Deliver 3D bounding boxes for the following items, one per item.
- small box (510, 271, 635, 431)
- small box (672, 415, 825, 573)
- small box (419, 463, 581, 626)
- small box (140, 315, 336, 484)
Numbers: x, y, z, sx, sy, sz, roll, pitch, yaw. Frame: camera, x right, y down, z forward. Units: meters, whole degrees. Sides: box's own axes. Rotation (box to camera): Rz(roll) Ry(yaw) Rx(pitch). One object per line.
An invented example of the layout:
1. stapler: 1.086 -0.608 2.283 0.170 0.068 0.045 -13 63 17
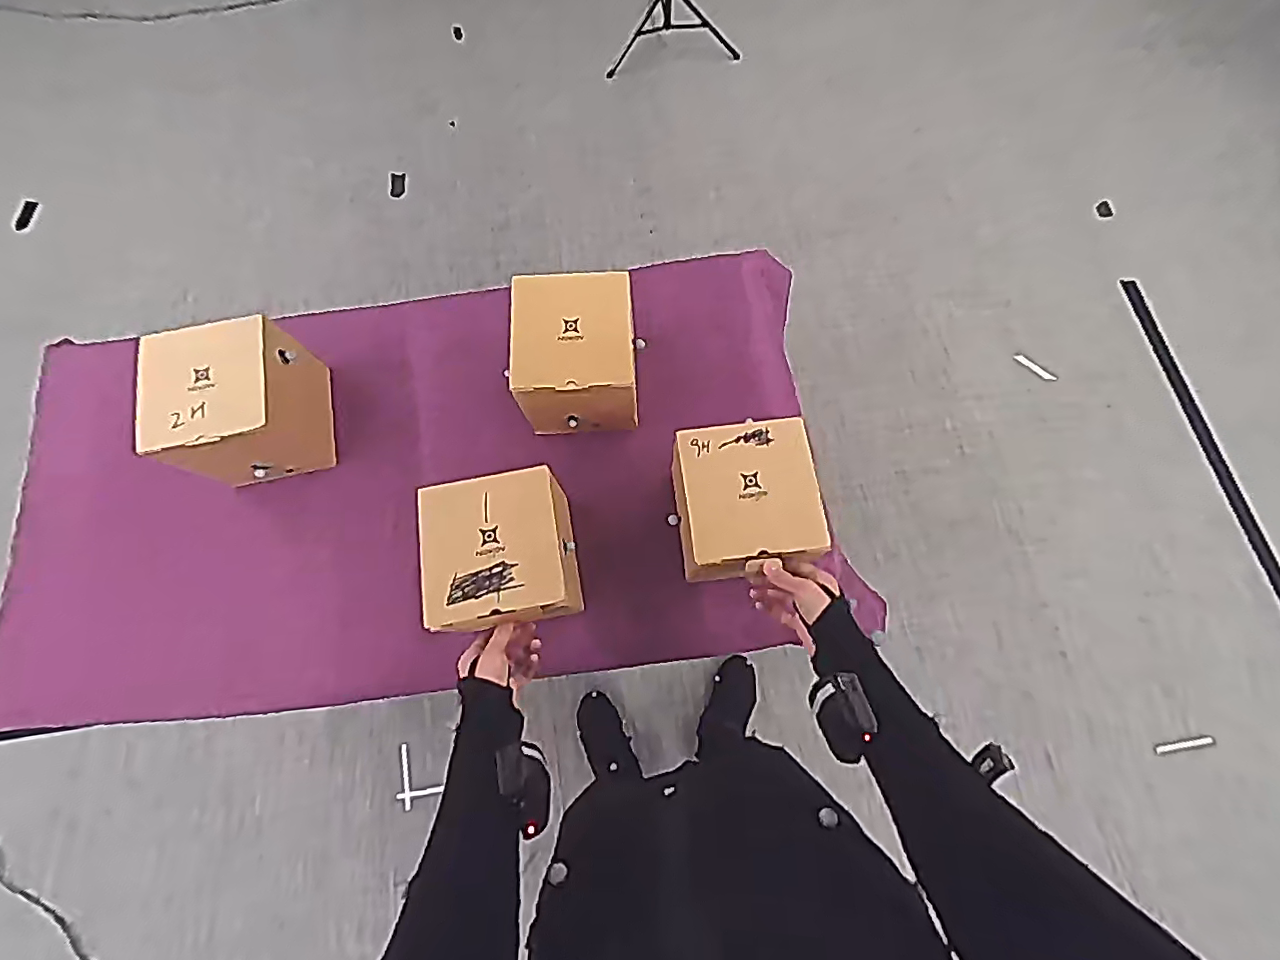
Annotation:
1. small box: -0.094 -0.186 0.814 0.168 0.176 0.179 -3 75 0
2. small box: 0.135 0.030 0.742 0.168 0.176 0.179 -6 72 -1
3. small box: -0.179 0.096 0.729 0.168 0.176 0.179 -10 73 -2
4. small box: -0.576 -0.111 0.796 0.168 0.176 0.179 -12 74 -3
